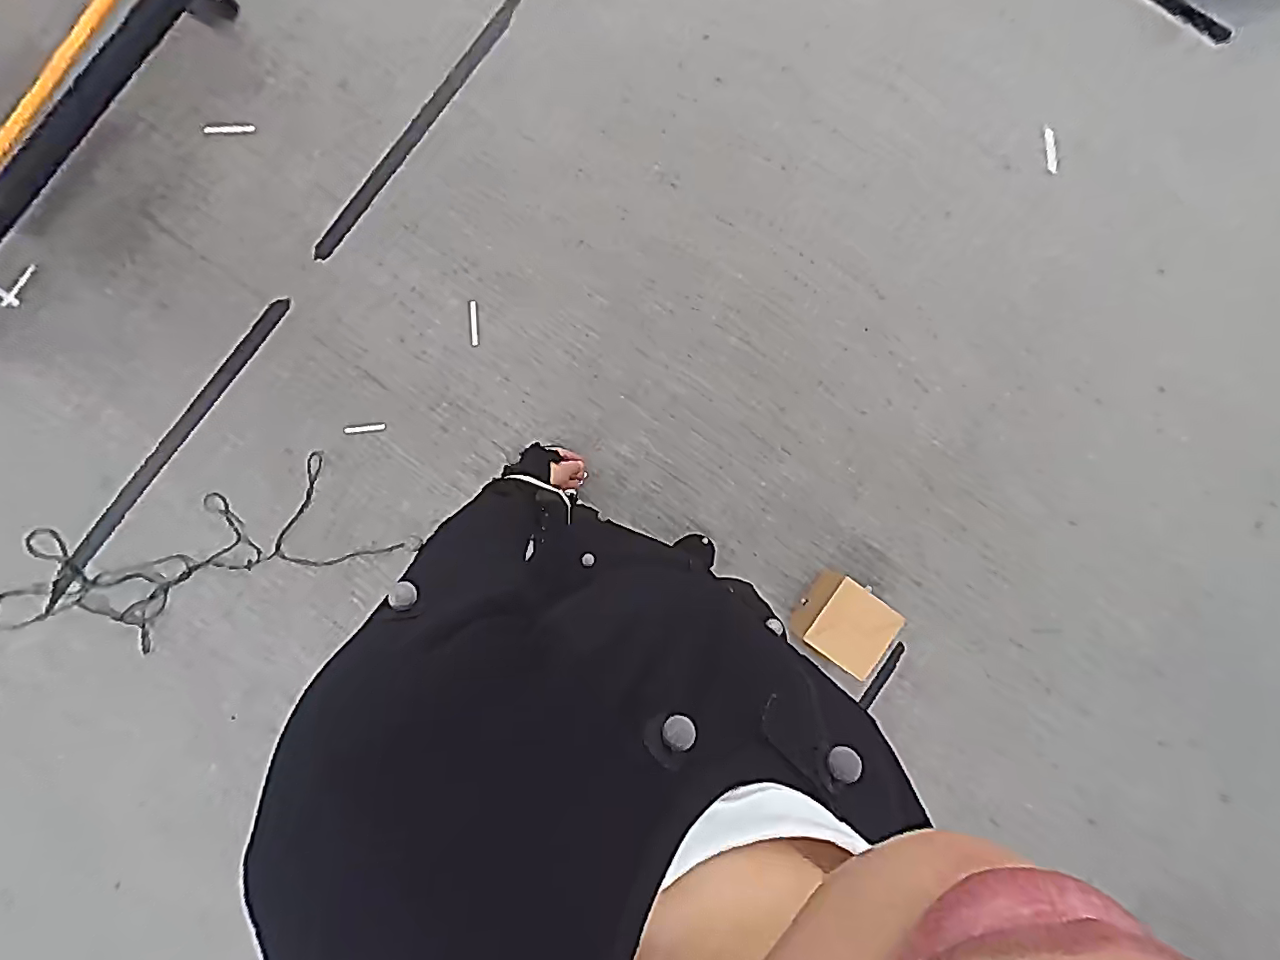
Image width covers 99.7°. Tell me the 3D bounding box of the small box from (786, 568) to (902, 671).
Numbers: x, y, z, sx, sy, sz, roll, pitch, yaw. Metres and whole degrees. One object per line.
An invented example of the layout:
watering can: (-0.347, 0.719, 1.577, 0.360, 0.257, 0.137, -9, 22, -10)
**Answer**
small box: (0.481, 0.332, 1.291, 0.168, 0.176, 0.179, 36, 89, 3)
